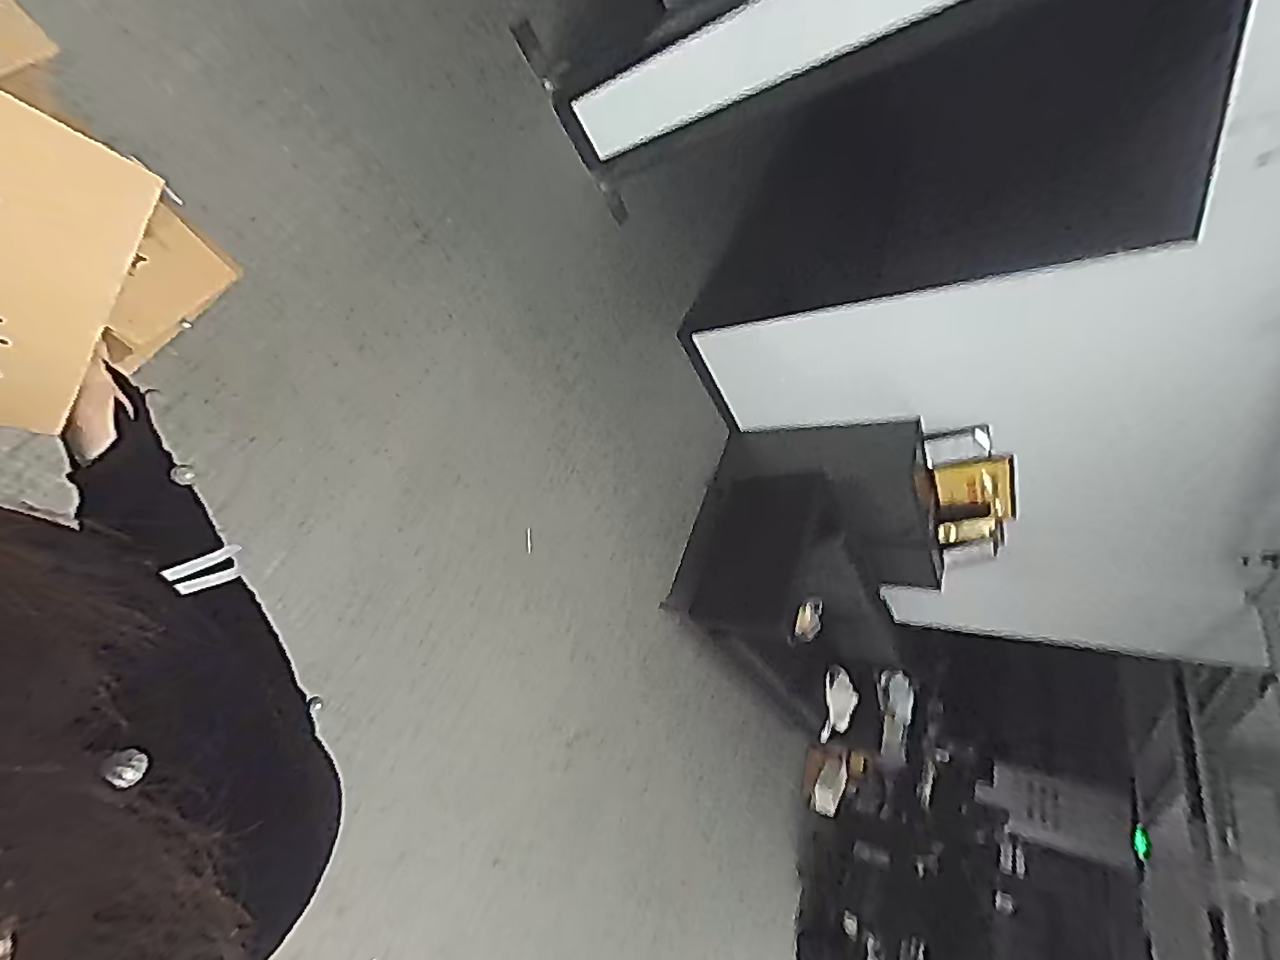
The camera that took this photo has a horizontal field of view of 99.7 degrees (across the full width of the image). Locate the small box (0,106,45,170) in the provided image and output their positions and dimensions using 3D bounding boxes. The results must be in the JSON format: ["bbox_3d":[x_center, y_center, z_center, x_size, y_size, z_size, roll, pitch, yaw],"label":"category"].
[{"bbox_3d":[-0.832,-0.415,0.588,0.168,0.176,0.179,54,51,-41],"label":"small box"}]

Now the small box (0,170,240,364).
[{"bbox_3d":[-0.716,-0.282,0.745,0.168,0.176,0.179,55,48,-37],"label":"small box"}]
